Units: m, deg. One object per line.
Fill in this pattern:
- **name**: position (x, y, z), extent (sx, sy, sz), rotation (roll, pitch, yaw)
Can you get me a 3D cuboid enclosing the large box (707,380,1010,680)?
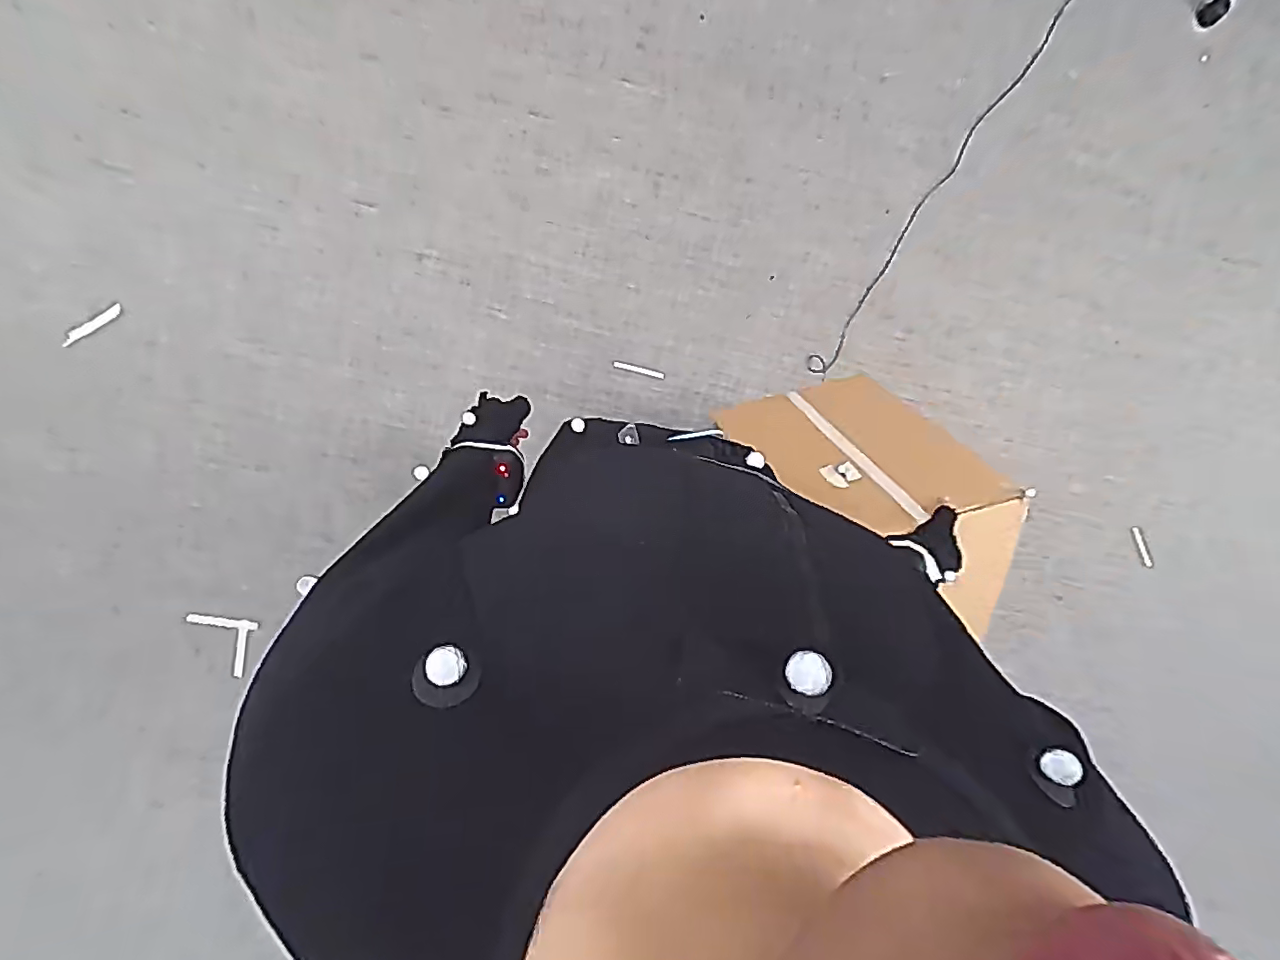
- **large box**: position (0.337, 0.070, 0.973), extent (0.320, 0.408, 0.320), rotation (-15, 128, -6)
